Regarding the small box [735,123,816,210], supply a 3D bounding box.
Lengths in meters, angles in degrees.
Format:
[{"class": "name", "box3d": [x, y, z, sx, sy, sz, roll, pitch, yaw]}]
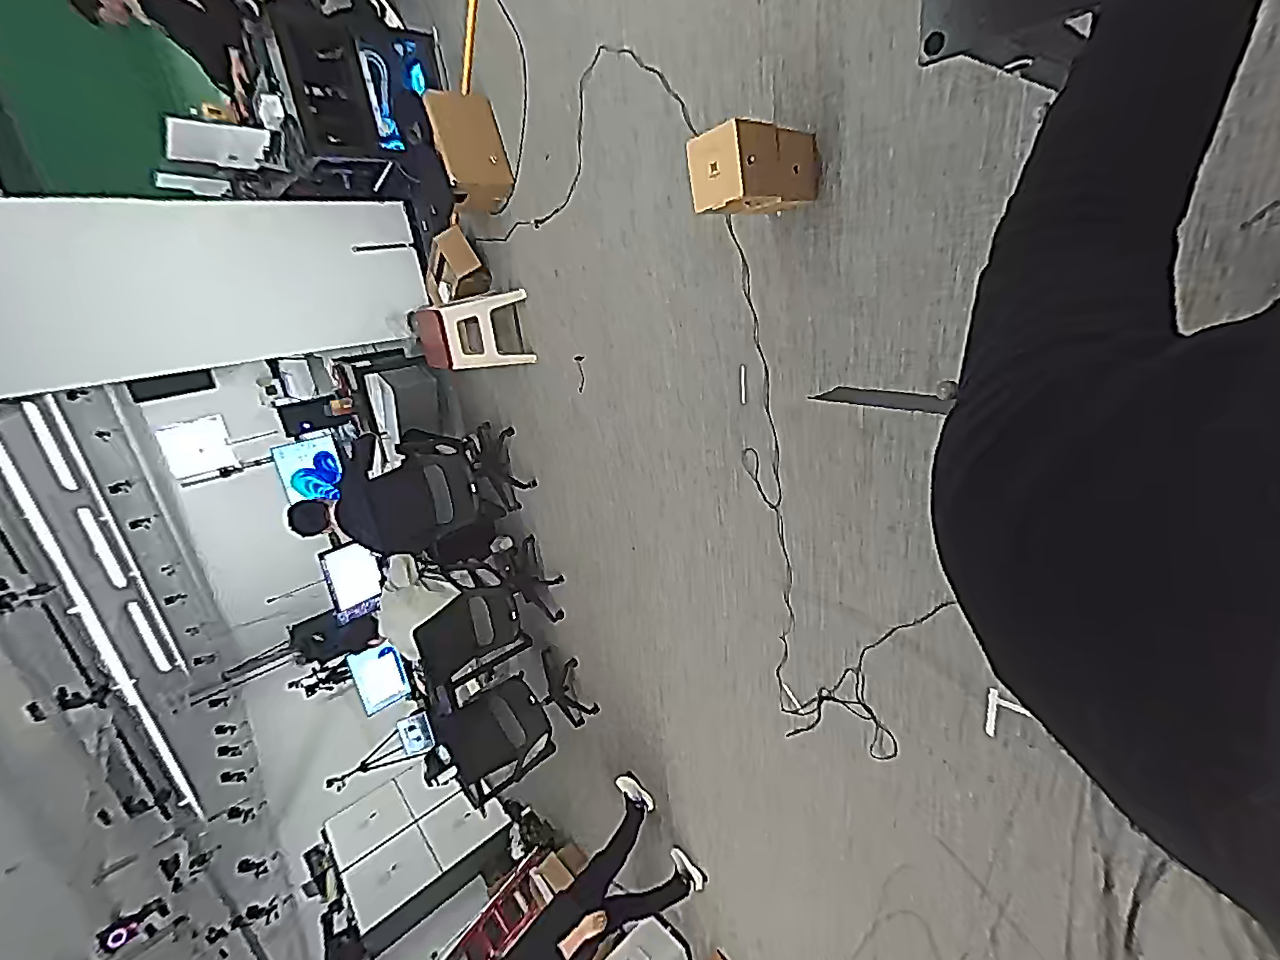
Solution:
[{"class": "small box", "box3d": [0.371, -0.860, 1.499, 0.168, 0.176, 0.179, 13, 119, 48]}]

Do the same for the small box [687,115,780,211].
[{"class": "small box", "box3d": [0.248, -0.814, 1.403, 0.168, 0.176, 0.179, 9, 114, 49]}]
